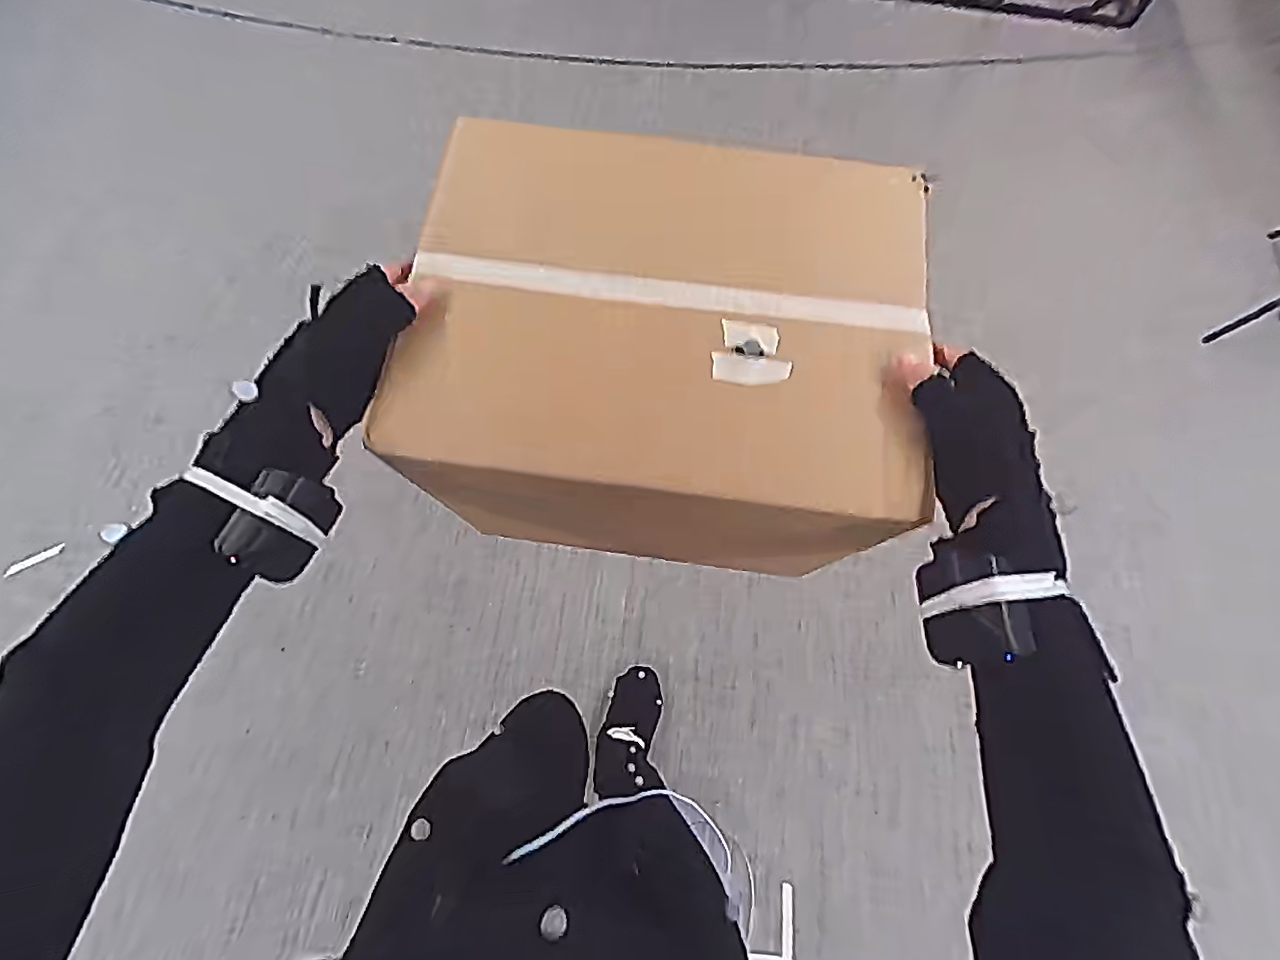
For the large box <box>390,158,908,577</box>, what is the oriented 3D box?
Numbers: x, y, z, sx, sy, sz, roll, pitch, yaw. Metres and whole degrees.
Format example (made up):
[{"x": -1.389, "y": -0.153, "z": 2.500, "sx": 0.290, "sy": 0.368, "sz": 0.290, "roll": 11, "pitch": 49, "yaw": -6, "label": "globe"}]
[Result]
[{"x": 0.017, "y": -0.087, "z": 0.592, "sx": 0.408, "sy": 0.320, "sz": 0.320, "roll": 8, "pitch": 73, "yaw": 1, "label": "large box"}]
